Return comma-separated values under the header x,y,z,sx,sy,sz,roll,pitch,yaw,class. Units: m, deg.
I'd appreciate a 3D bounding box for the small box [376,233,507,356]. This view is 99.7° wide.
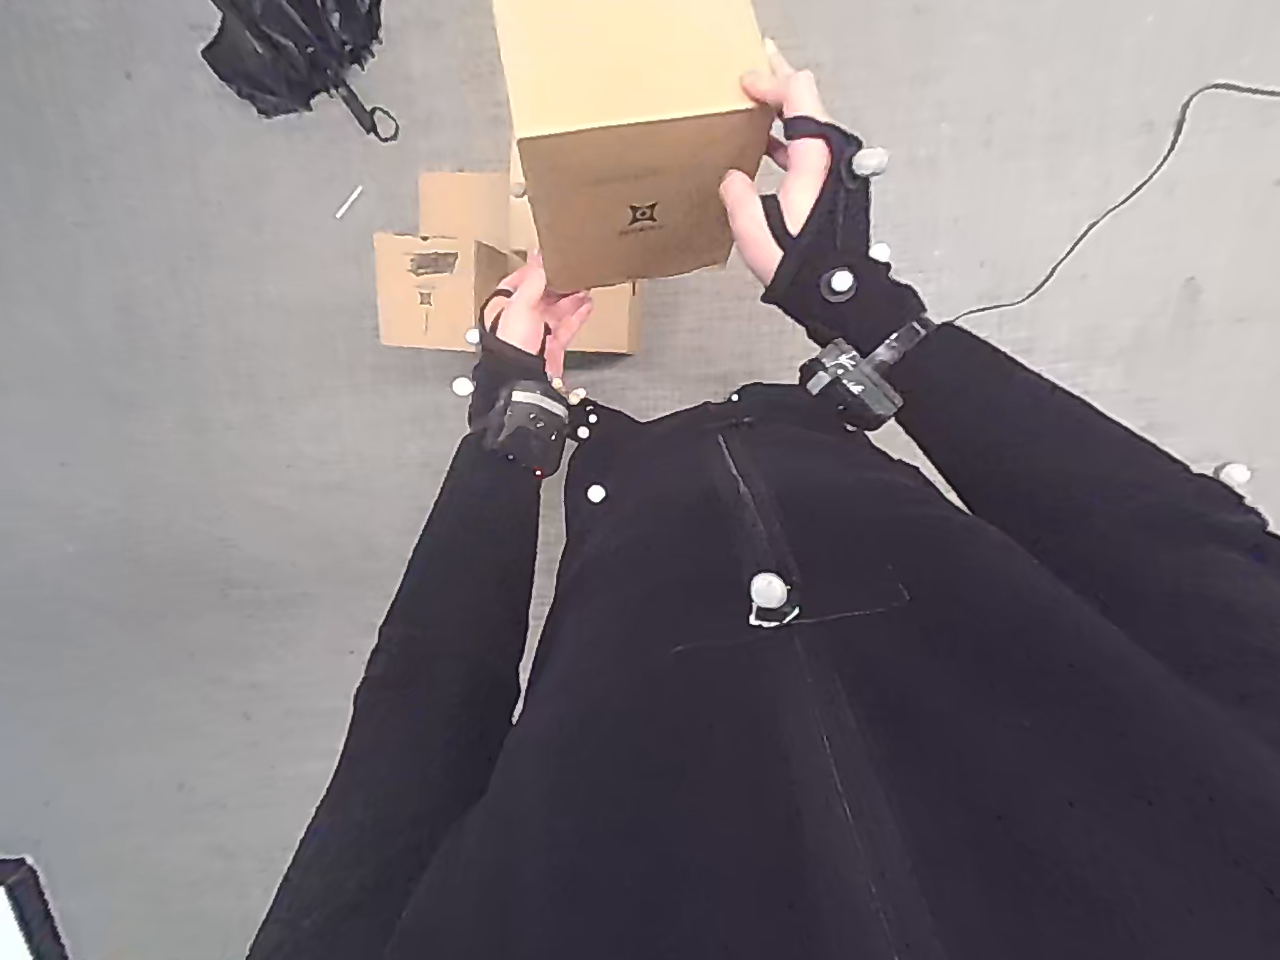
x,y,z,sx,sy,sz,roll,pitch,yaw,class
-0.337,-0.312,0.941,0.168,0.176,0.179,6,104,2,small box

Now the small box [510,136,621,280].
x,y,z,sx,sy,sz,roll,pitch,yaw,class
-0.110,-0.441,0.904,0.168,0.176,0.179,5,100,3,small box

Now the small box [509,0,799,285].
x,y,z,sx,sy,sz,roll,pitch,yaw,class
-0.002,-0.282,0.417,0.168,0.179,0.176,-11,76,-5,small box
